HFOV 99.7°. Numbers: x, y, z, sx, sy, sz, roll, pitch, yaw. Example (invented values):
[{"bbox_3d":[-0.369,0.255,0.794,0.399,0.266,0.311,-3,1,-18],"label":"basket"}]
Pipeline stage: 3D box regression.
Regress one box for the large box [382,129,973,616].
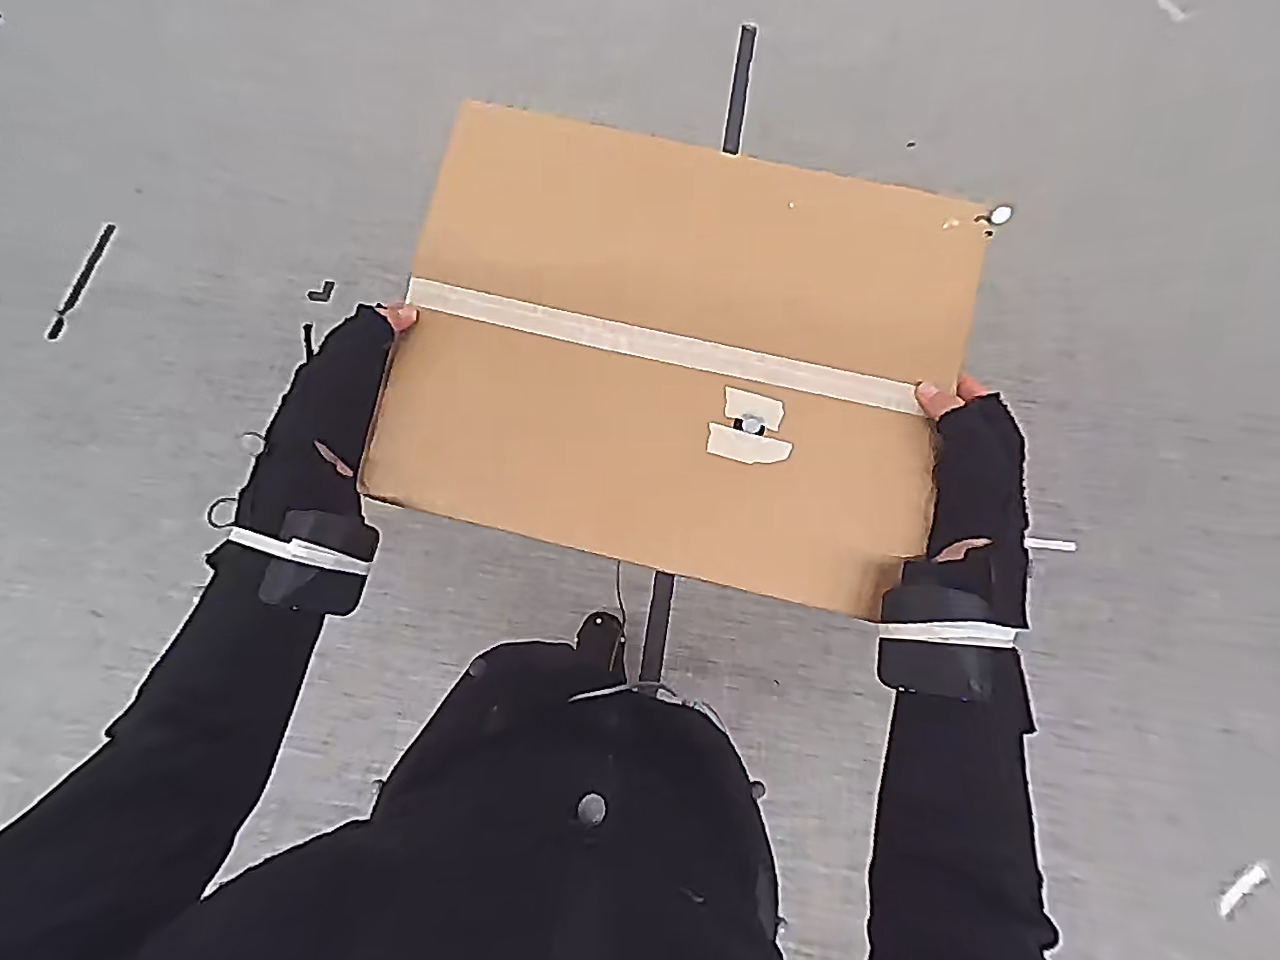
[{"bbox_3d":[0.031,-0.077,0.556,0.408,0.320,0.320,13,87,2],"label":"large box"}]
